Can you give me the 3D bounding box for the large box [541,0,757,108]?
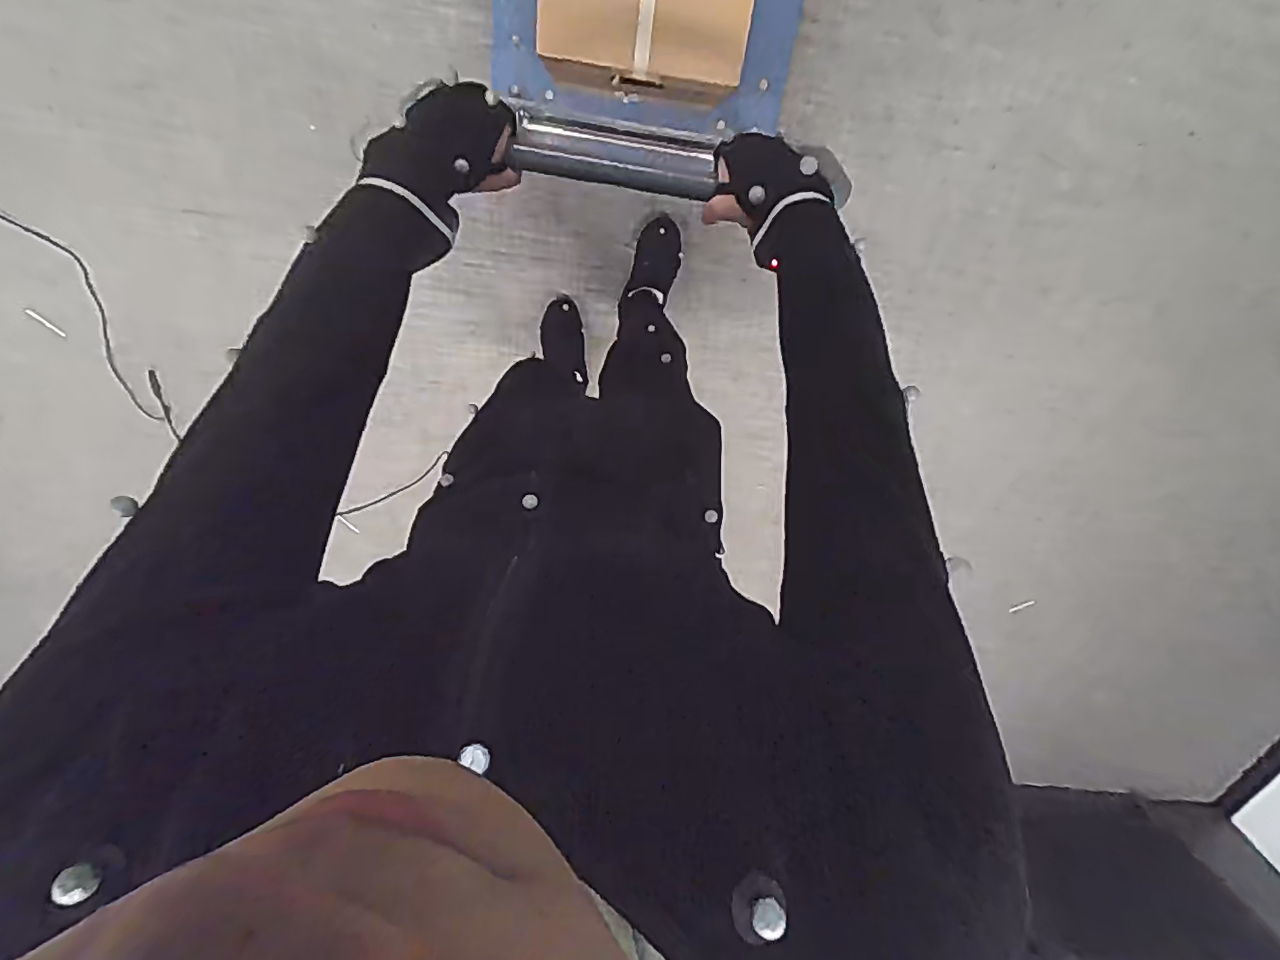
[{"bbox_3d":[0.027,-0.865,0.858,0.320,0.320,0.408,6,117,-4],"label":"large box"}]
